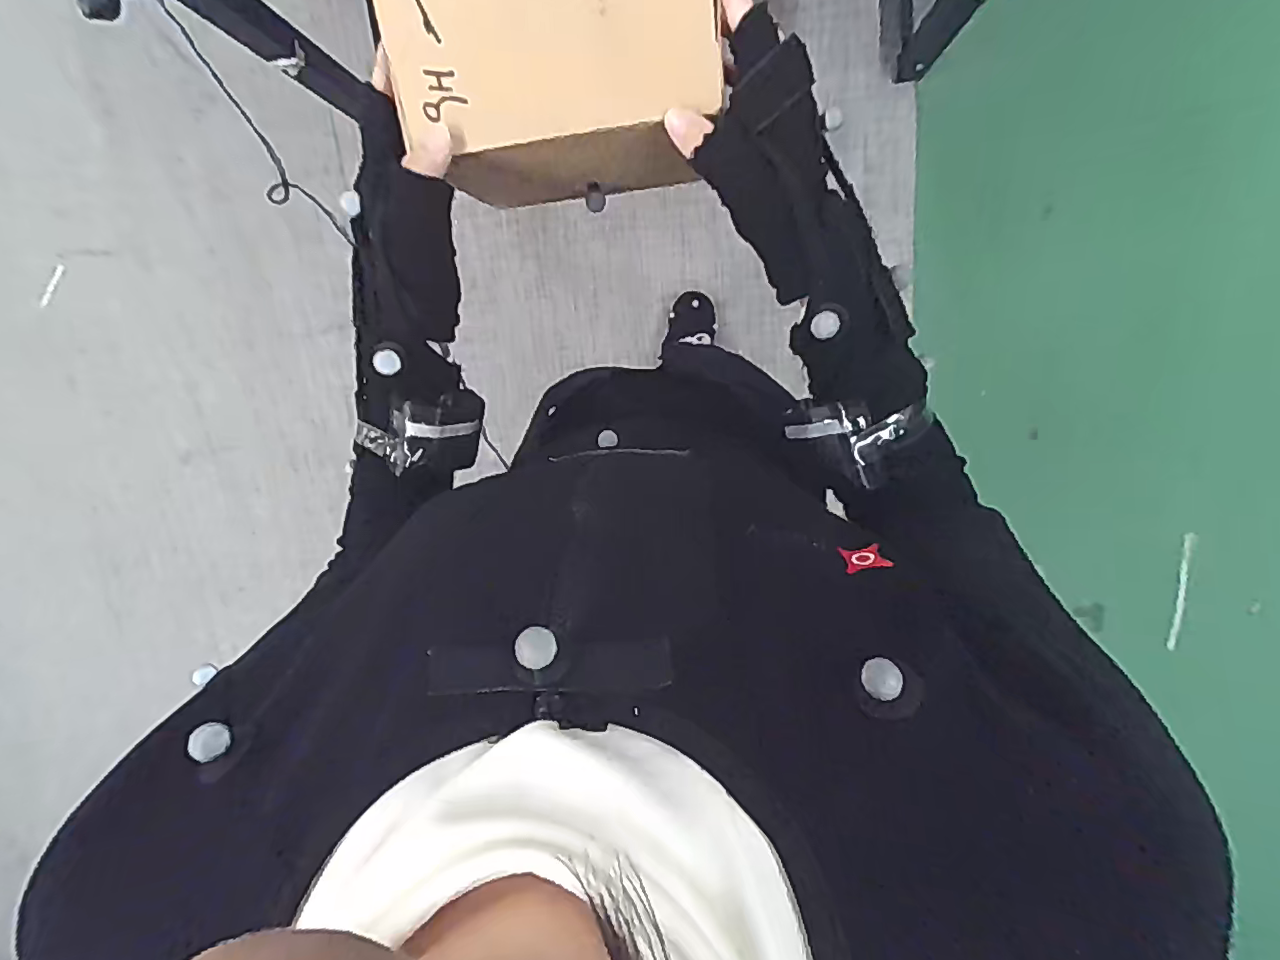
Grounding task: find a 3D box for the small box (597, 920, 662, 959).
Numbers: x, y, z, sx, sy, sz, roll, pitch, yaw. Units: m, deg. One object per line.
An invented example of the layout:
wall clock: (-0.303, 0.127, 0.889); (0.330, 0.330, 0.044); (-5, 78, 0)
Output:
small box: (-0.035, 1.594, 1.776); (0.179, 0.176, 0.168); (-13, 103, 10)
